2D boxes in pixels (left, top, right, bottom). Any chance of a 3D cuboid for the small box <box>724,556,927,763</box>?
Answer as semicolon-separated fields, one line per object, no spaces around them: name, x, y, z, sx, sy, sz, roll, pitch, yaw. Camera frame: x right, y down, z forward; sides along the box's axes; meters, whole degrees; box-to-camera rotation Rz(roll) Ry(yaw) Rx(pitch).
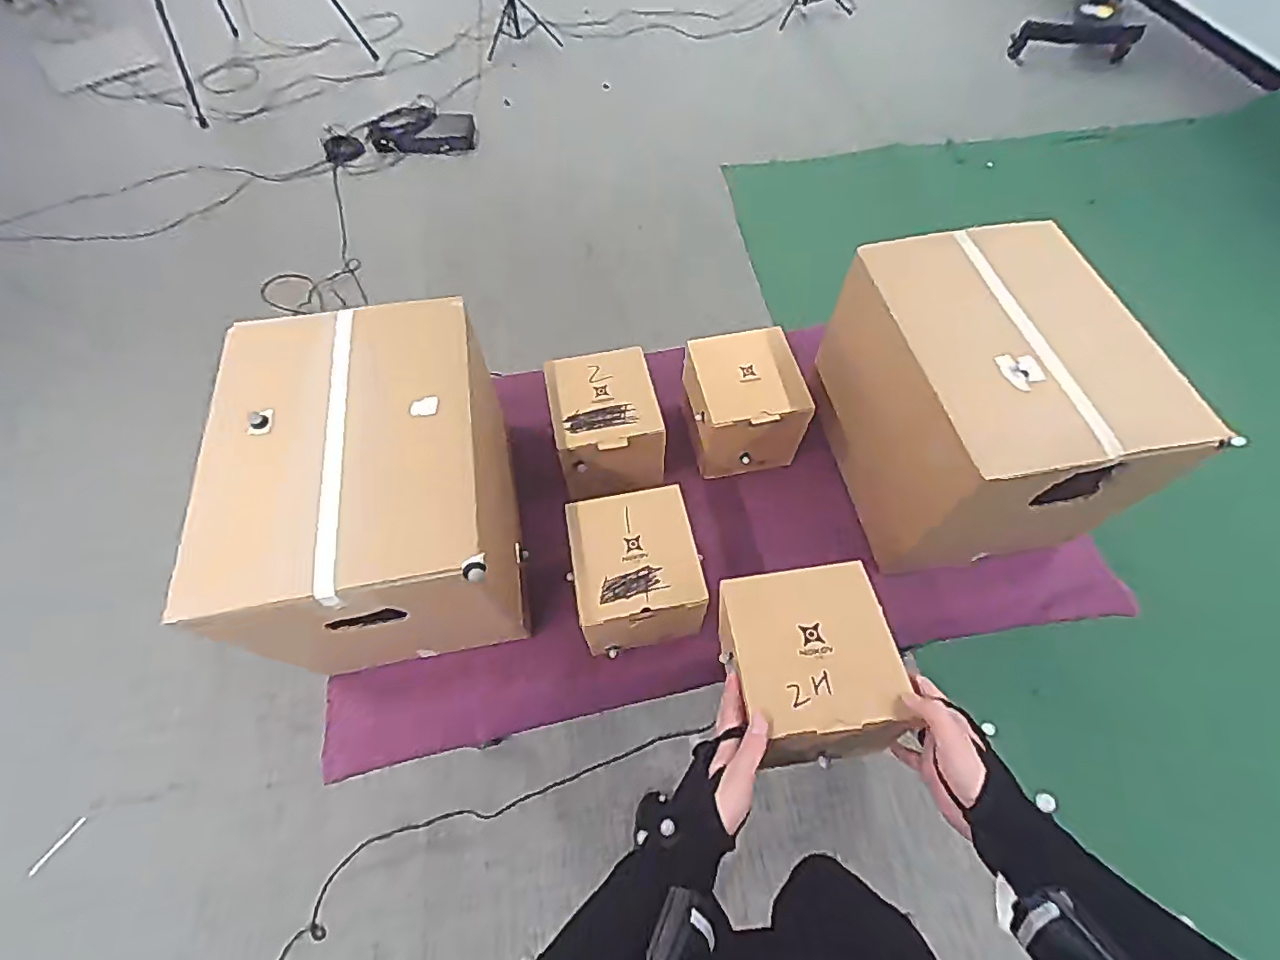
small box;0.195;0.213;0.633;0.168;0.176;0.179;-8;52;1

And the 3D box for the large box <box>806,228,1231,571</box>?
large box;0.502;-0.116;0.837;0.320;0.320;0.408;-9;62;-4
